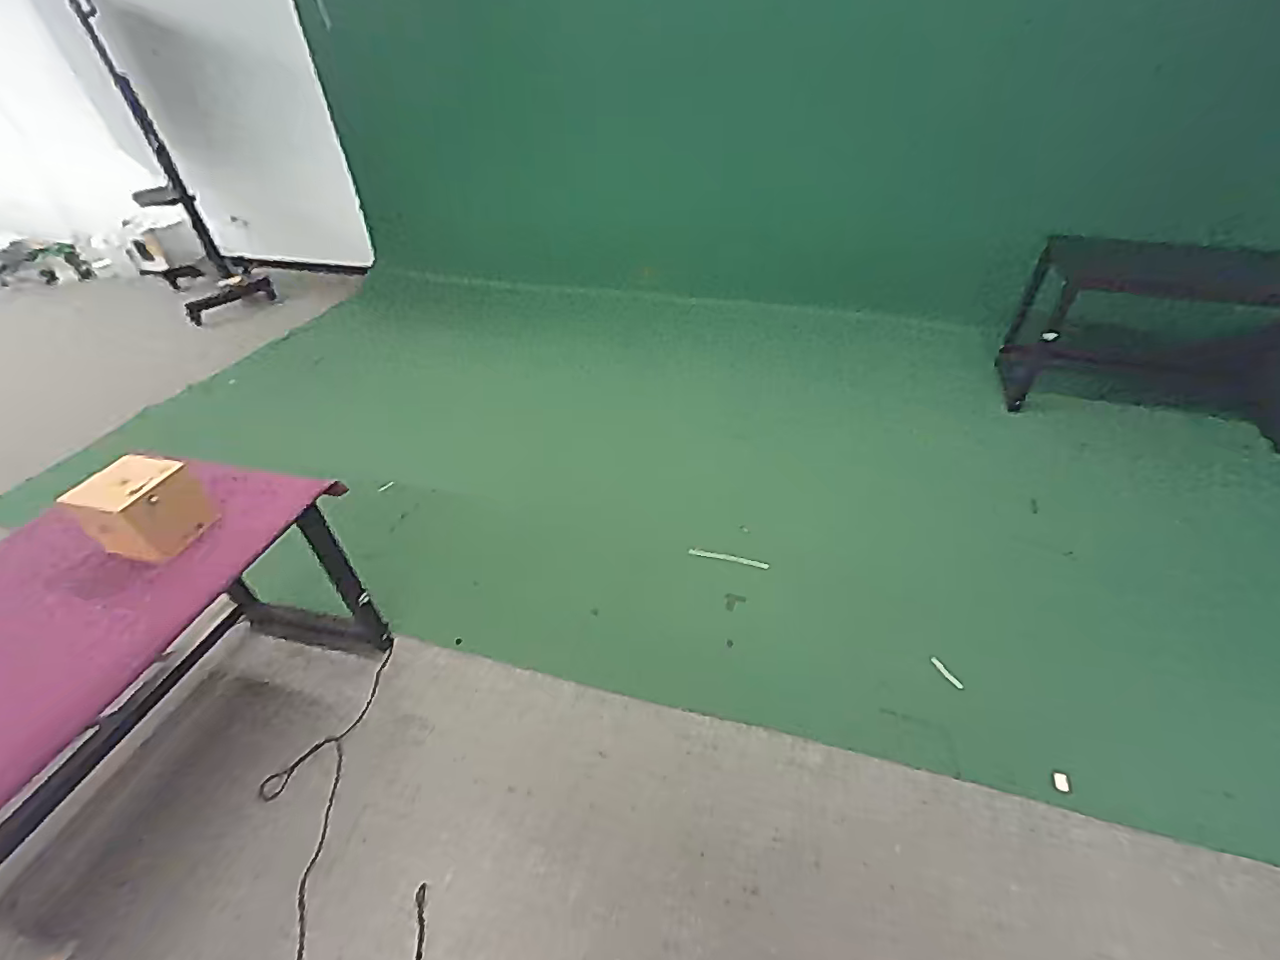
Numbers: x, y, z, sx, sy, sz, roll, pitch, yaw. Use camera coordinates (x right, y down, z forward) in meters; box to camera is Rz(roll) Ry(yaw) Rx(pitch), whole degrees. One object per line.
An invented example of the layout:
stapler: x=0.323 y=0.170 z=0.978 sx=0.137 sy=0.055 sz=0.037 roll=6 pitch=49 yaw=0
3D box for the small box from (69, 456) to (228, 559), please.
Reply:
small box: x=-1.128 y=0.065 z=1.256 sx=0.179 sy=0.176 sz=0.168 roll=7 pitch=43 yaw=13
